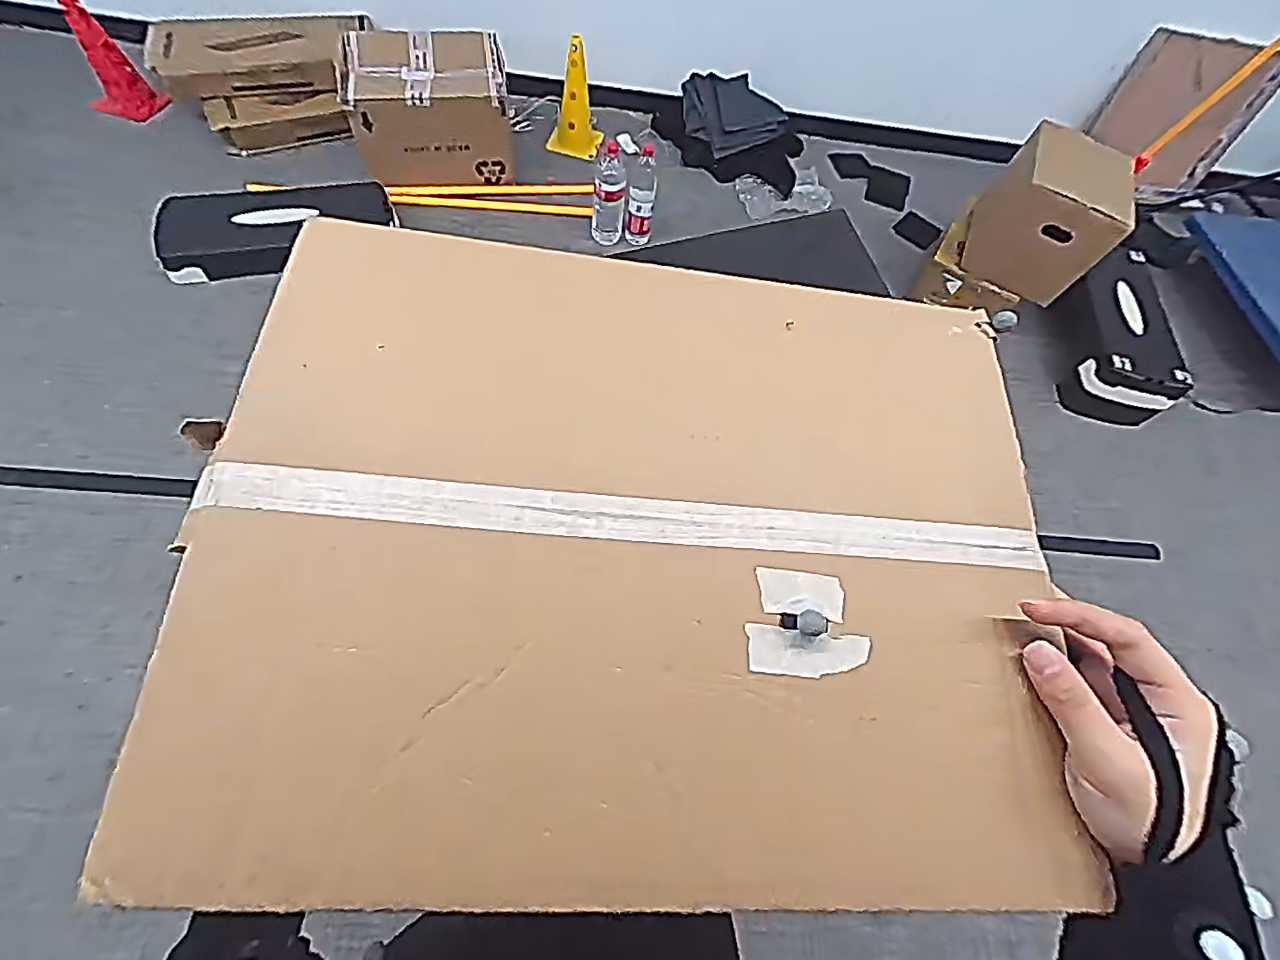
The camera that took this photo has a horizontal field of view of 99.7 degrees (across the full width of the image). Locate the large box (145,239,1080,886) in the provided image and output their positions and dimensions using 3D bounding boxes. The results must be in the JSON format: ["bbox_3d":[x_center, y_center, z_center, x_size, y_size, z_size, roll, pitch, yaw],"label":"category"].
[{"bbox_3d":[-0.008,0.074,0.415,0.408,0.320,0.320,6,70,-8],"label":"large box"}]
